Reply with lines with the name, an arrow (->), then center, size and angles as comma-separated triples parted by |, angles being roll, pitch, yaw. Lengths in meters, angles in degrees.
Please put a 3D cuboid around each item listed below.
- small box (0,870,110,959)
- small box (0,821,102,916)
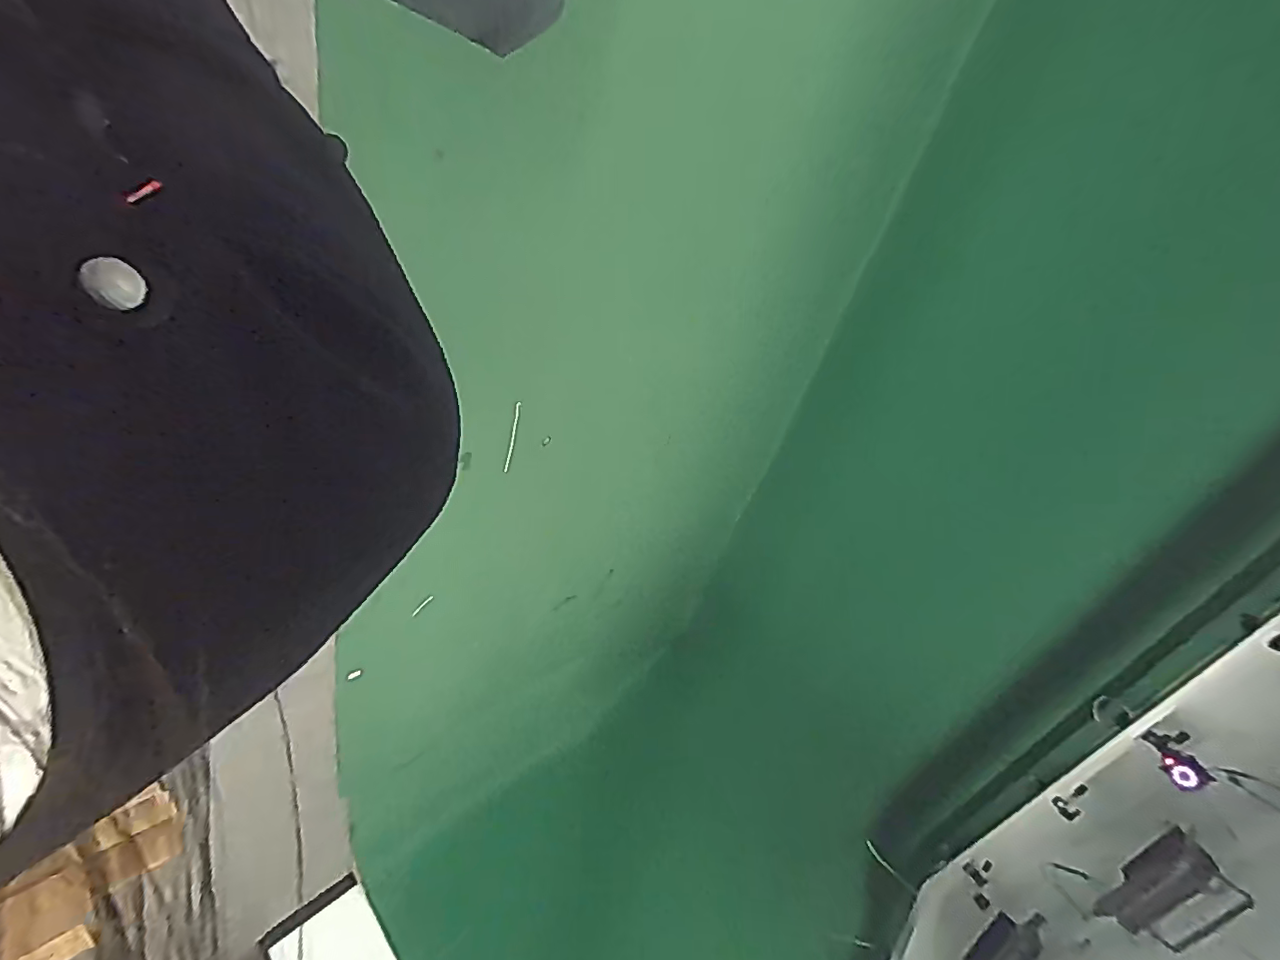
small box -> -1.571, 1.205, 1.445 | 0.179, 0.176, 0.168 | -21, 139, -43
small box -> -1.702, 1.128, 1.548 | 0.179, 0.176, 0.168 | -22, 140, -42
